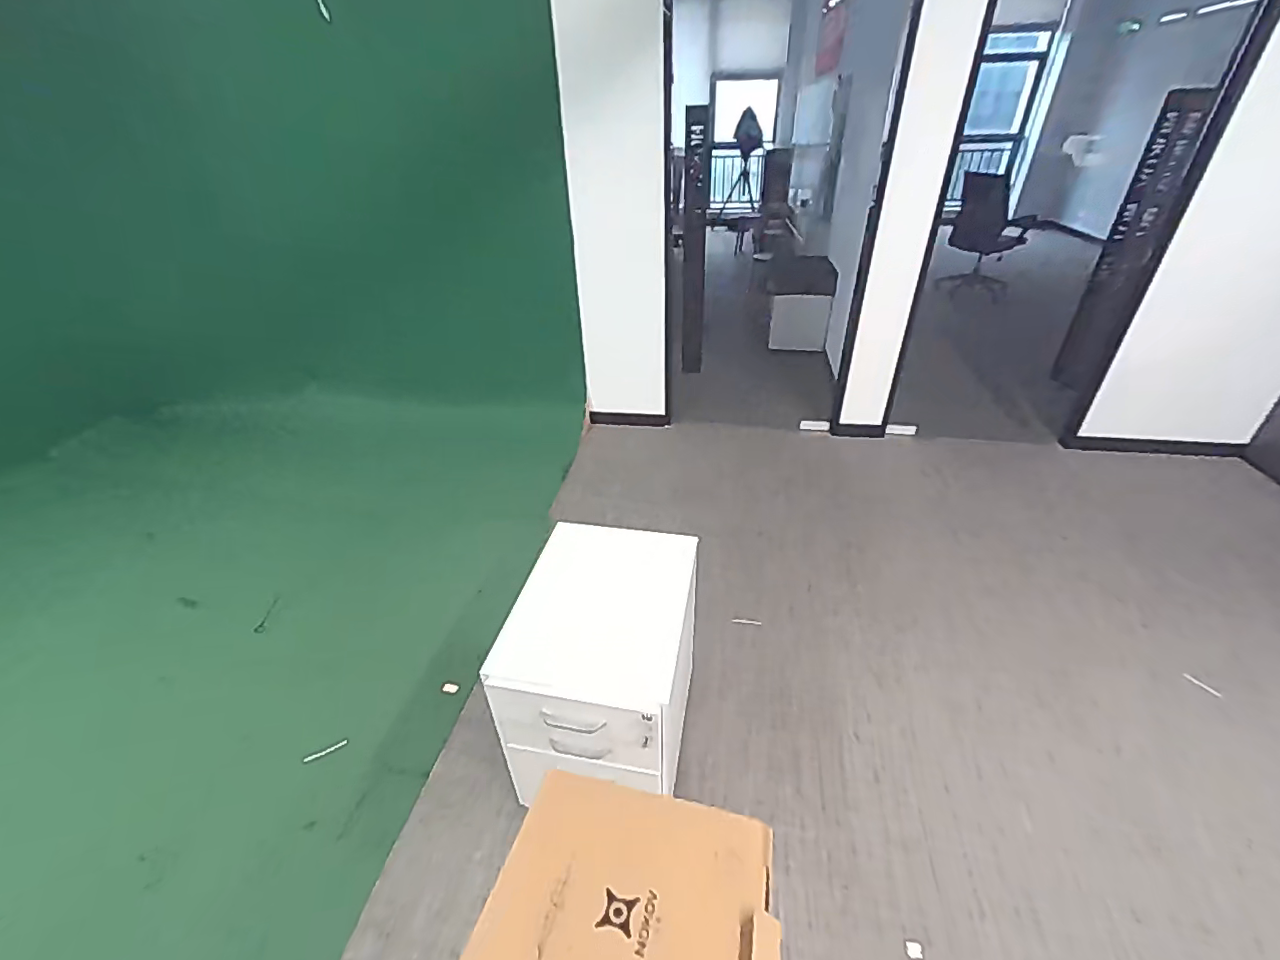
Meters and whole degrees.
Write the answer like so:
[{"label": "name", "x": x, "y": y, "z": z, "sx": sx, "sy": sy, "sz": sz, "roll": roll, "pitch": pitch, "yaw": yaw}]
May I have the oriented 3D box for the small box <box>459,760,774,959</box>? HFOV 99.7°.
[{"label": "small box", "x": -0.008, "y": 0.338, "z": 0.374, "sx": 0.179, "sy": 0.176, "sz": 0.168, "roll": 5, "pitch": 26, "yaw": 14}]
